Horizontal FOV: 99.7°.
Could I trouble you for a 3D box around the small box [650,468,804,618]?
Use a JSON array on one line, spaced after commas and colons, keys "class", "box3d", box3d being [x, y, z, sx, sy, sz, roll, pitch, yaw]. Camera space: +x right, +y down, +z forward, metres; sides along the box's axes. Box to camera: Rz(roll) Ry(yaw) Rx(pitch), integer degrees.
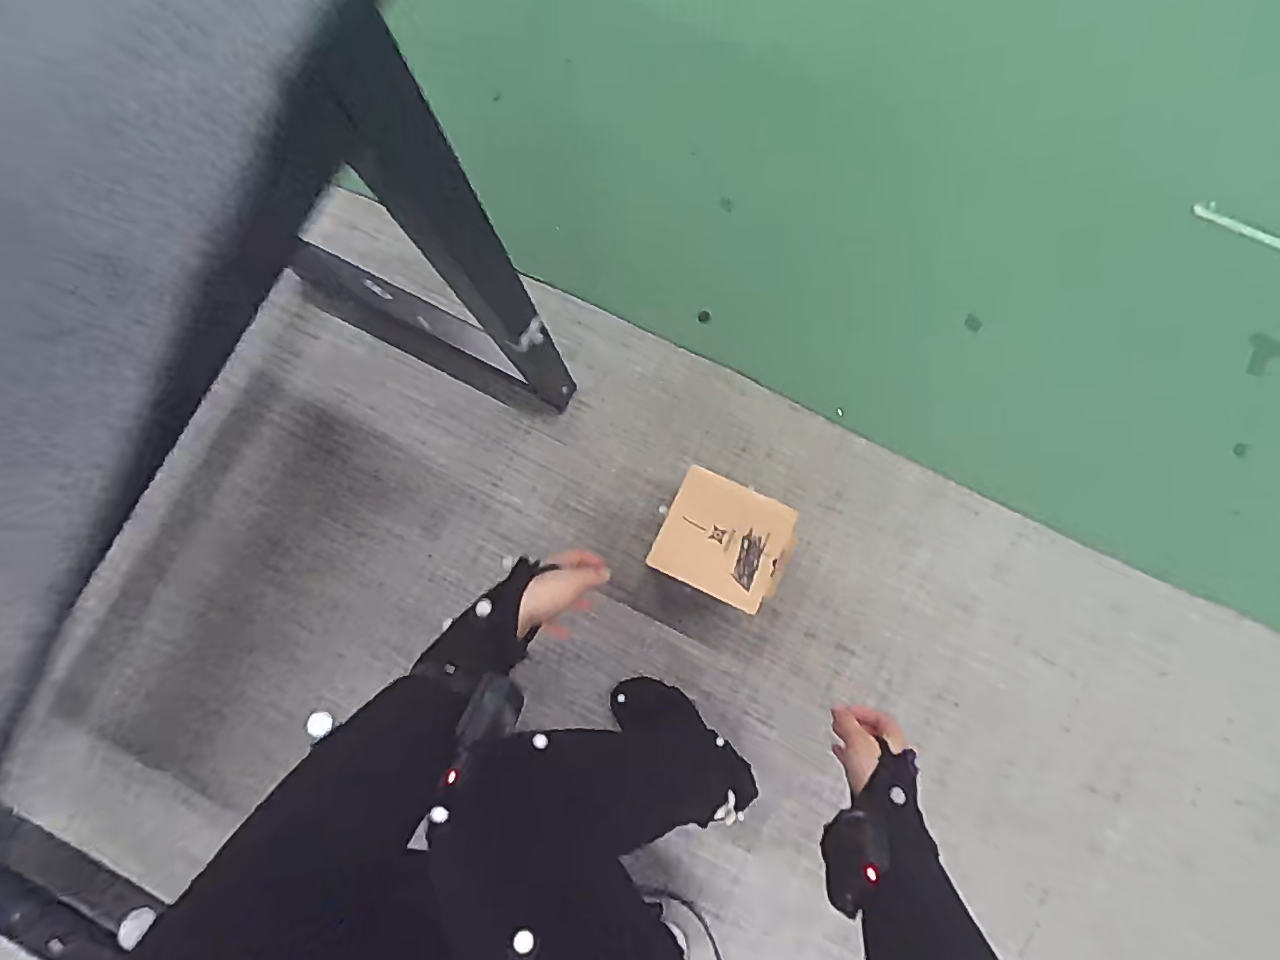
[{"class": "small box", "box3d": [0.130, 0.097, 0.861, 0.179, 0.176, 0.168, 25, 85, 5]}]
